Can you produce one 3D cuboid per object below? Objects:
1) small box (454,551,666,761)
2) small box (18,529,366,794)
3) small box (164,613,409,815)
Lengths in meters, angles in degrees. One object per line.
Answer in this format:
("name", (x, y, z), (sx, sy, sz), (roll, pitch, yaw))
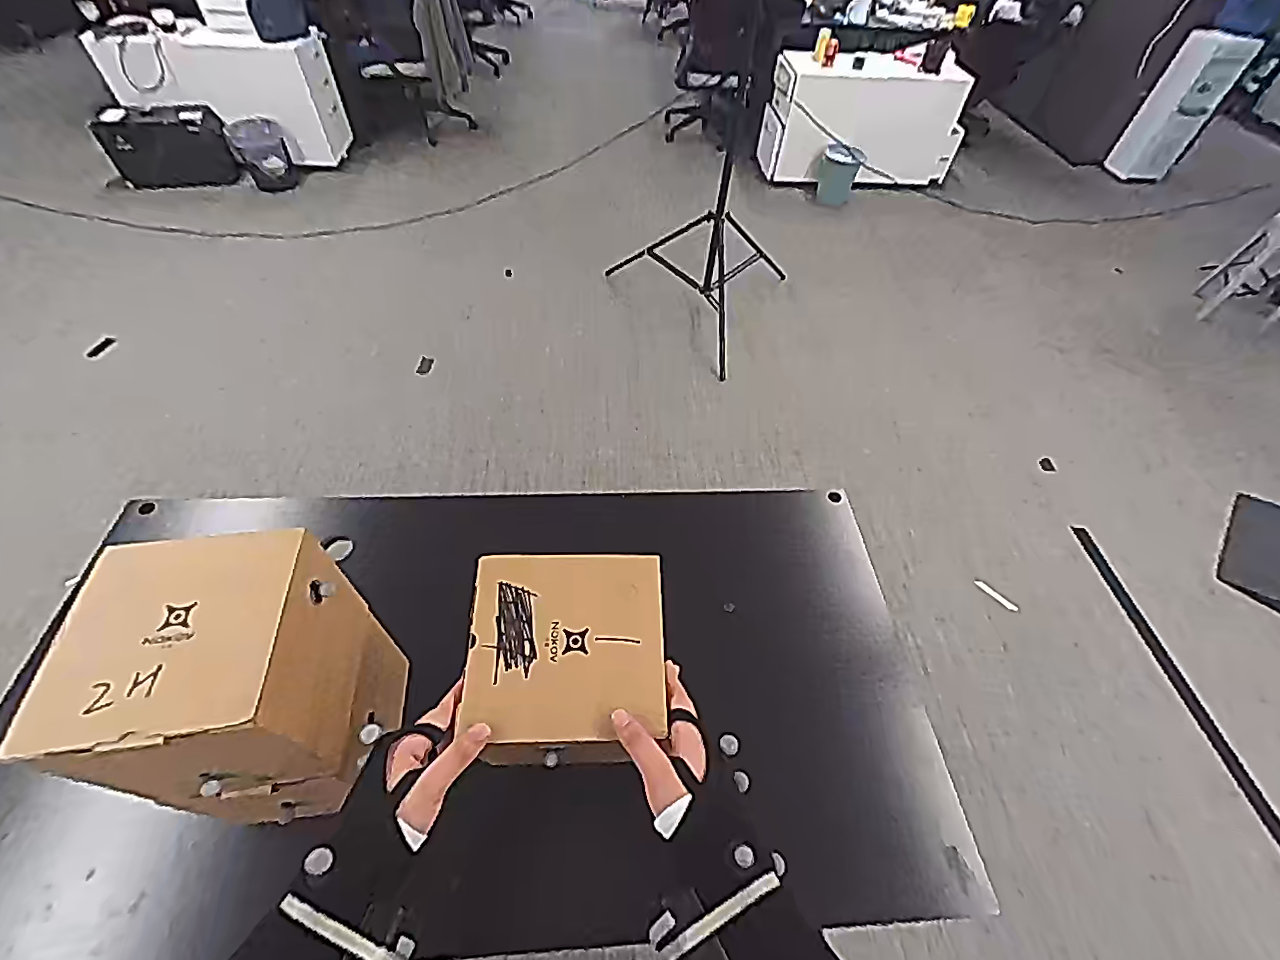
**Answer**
("small box", (-0.068, 0.183, 0.547), (0.179, 0.176, 0.168), (-1, 56, -2))
("small box", (-0.375, 0.170, 0.504), (0.168, 0.176, 0.179), (-6, 52, -8))
("small box", (-0.383, 0.277, 0.630), (0.168, 0.176, 0.179), (-4, 52, -7))
